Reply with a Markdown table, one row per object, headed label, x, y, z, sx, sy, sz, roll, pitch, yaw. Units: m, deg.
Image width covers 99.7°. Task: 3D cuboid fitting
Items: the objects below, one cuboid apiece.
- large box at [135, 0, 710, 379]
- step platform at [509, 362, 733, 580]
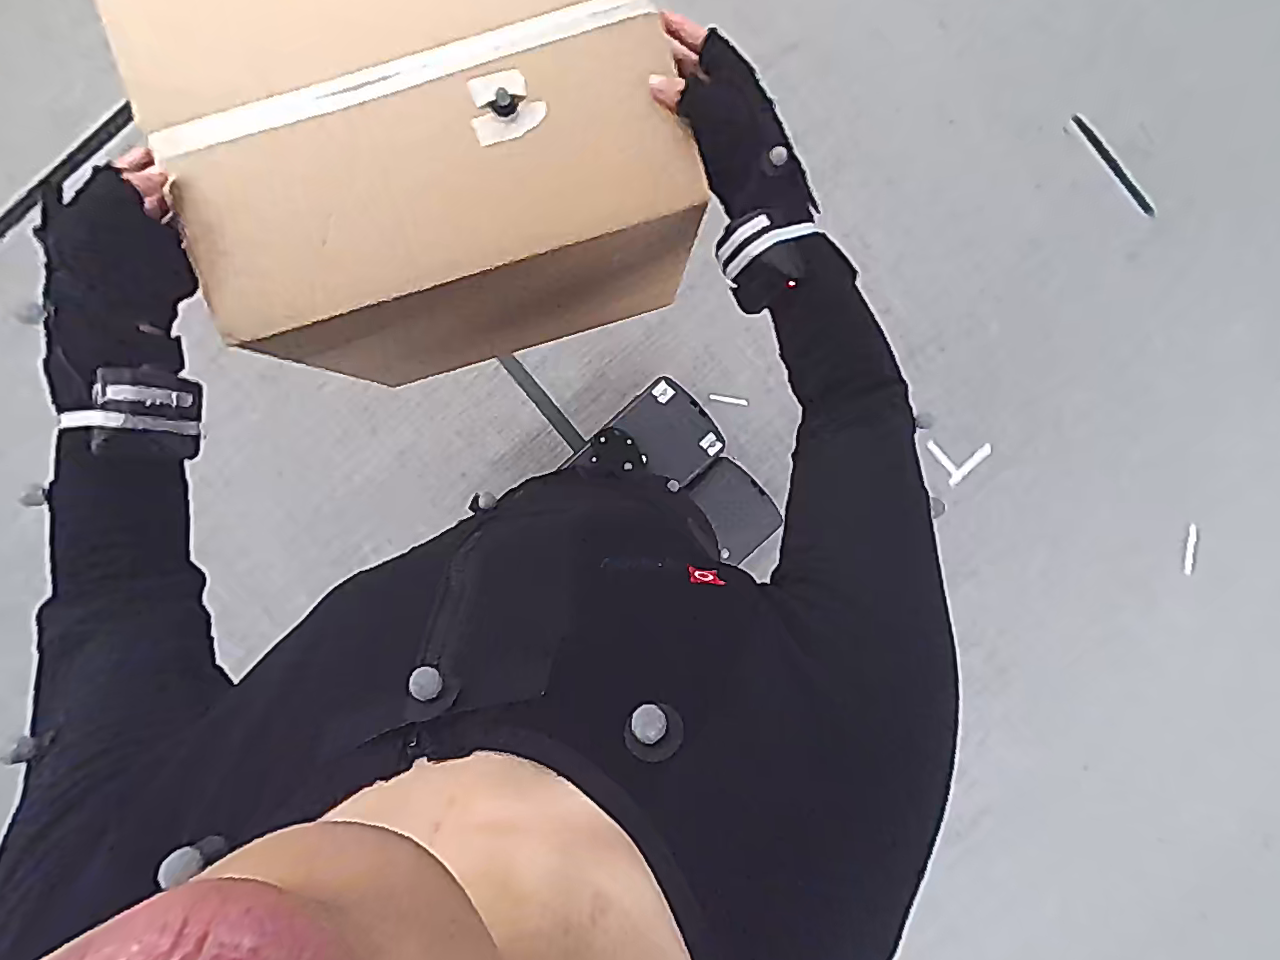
| label | x | y | z | sx | sy | sz | roll | pitch | yaw |
| --- | --- | --- | --- | --- | --- | --- | --- | --- | --- |
| large box | -0.180 | -0.331 | 0.583 | 0.408 | 0.320 | 0.320 | -17 | 94 | -2 |
| step platform | -0.056 | -0.028 | 1.582 | 0.684 | 0.204 | 0.286 | -43 | 94 | 0 |
